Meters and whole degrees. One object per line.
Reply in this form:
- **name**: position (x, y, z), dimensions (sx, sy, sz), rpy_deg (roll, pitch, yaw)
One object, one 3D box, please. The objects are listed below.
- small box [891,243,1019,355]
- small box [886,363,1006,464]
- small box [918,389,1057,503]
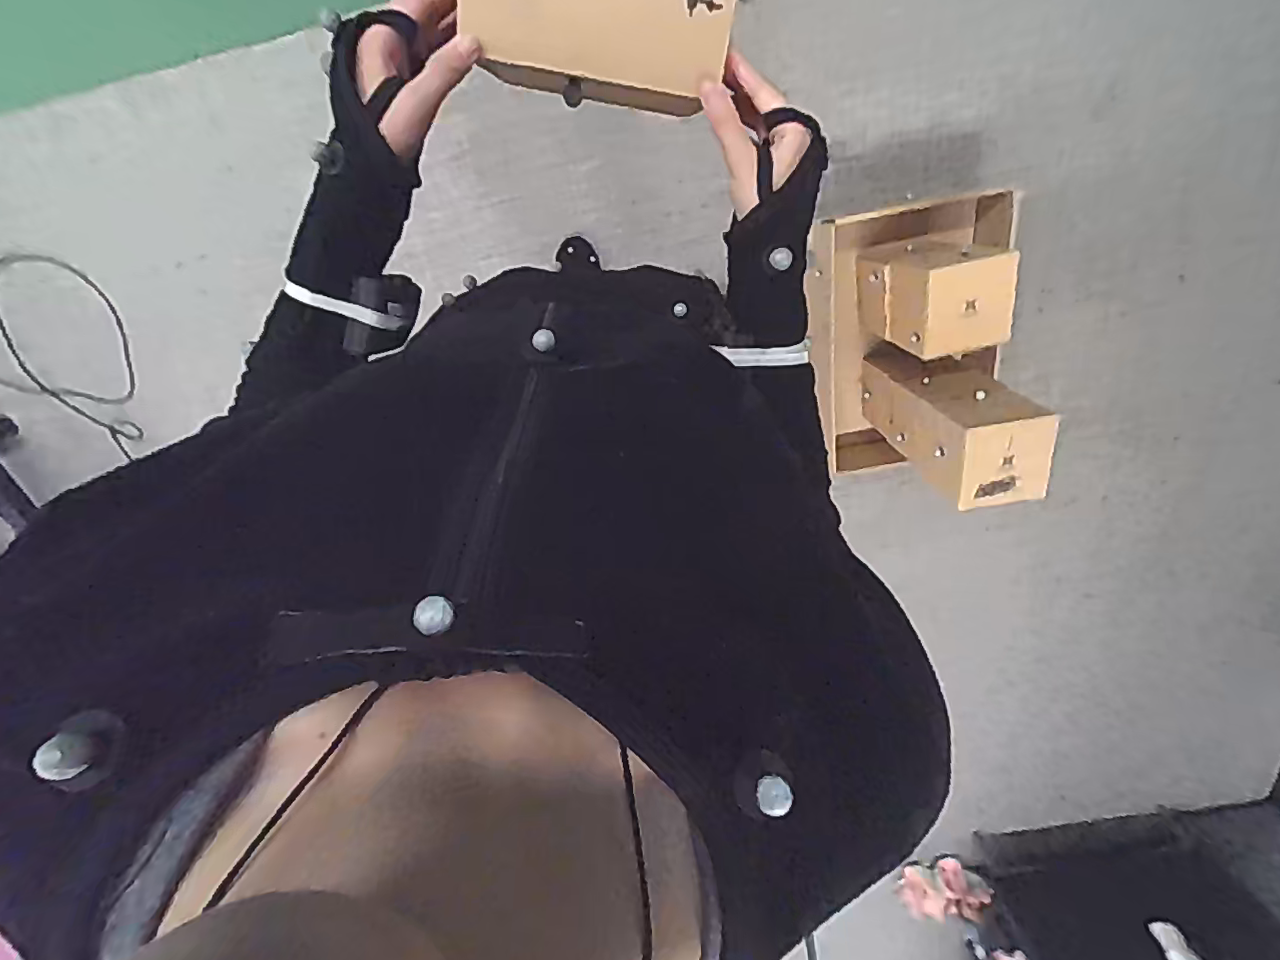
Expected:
- **small box**: position (0.626, -0.374, 1.098), dimensions (0.168, 0.176, 0.179), rpy_deg (-11, 118, 5)
- **small box**: position (0.673, -0.152, 1.213), dimensions (0.179, 0.176, 0.168), rpy_deg (-9, 117, 3)
- **small box**: position (0.674, -0.072, 1.074), dimensions (0.168, 0.176, 0.179), rpy_deg (-5, 113, 4)
